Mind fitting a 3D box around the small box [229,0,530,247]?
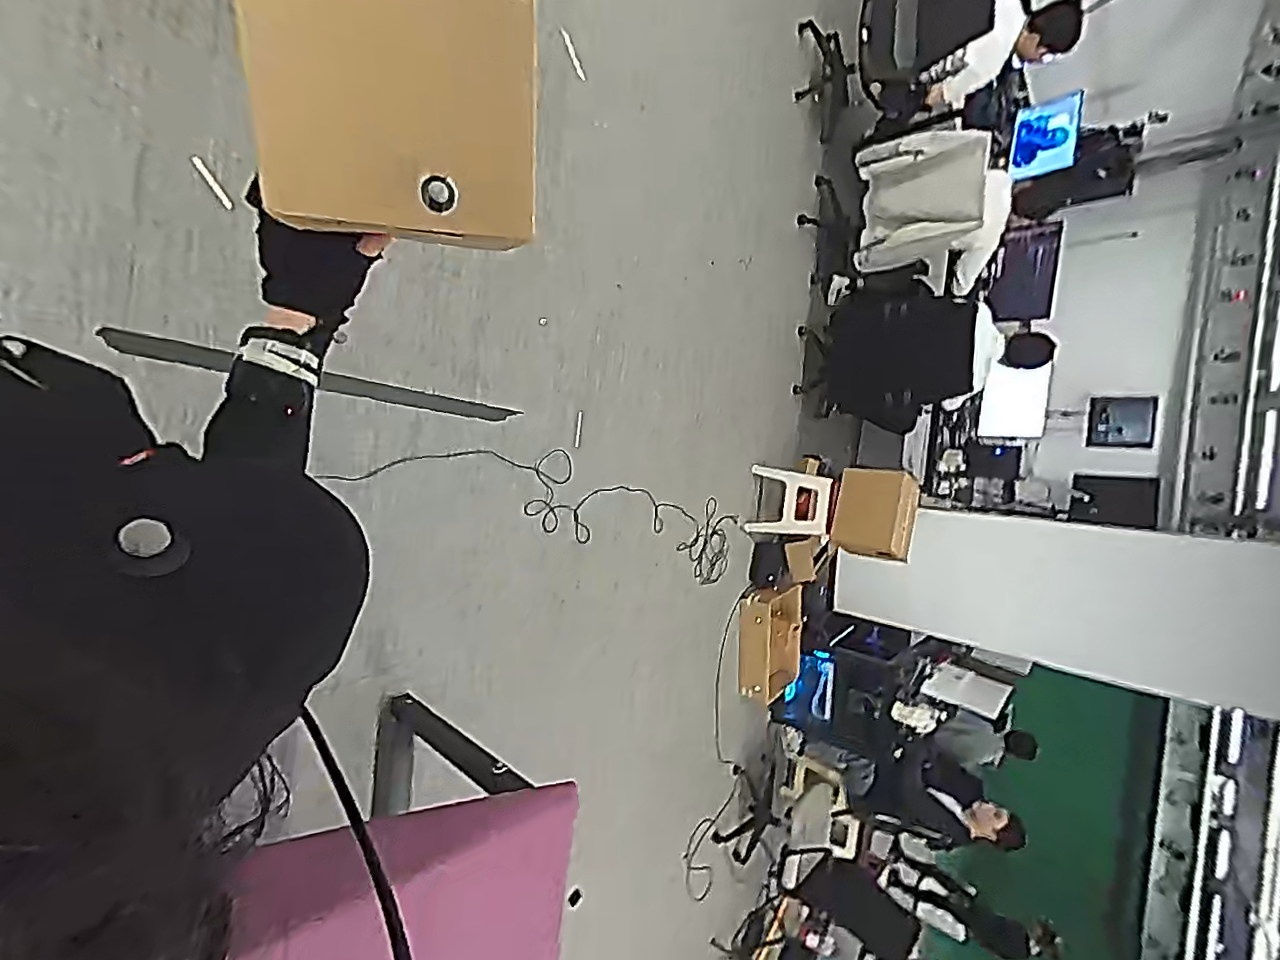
[{"bbox_3d":[-0.177,-0.273,0.394,0.168,0.179,0.176,-4,111,-23],"label":"small box"}]
